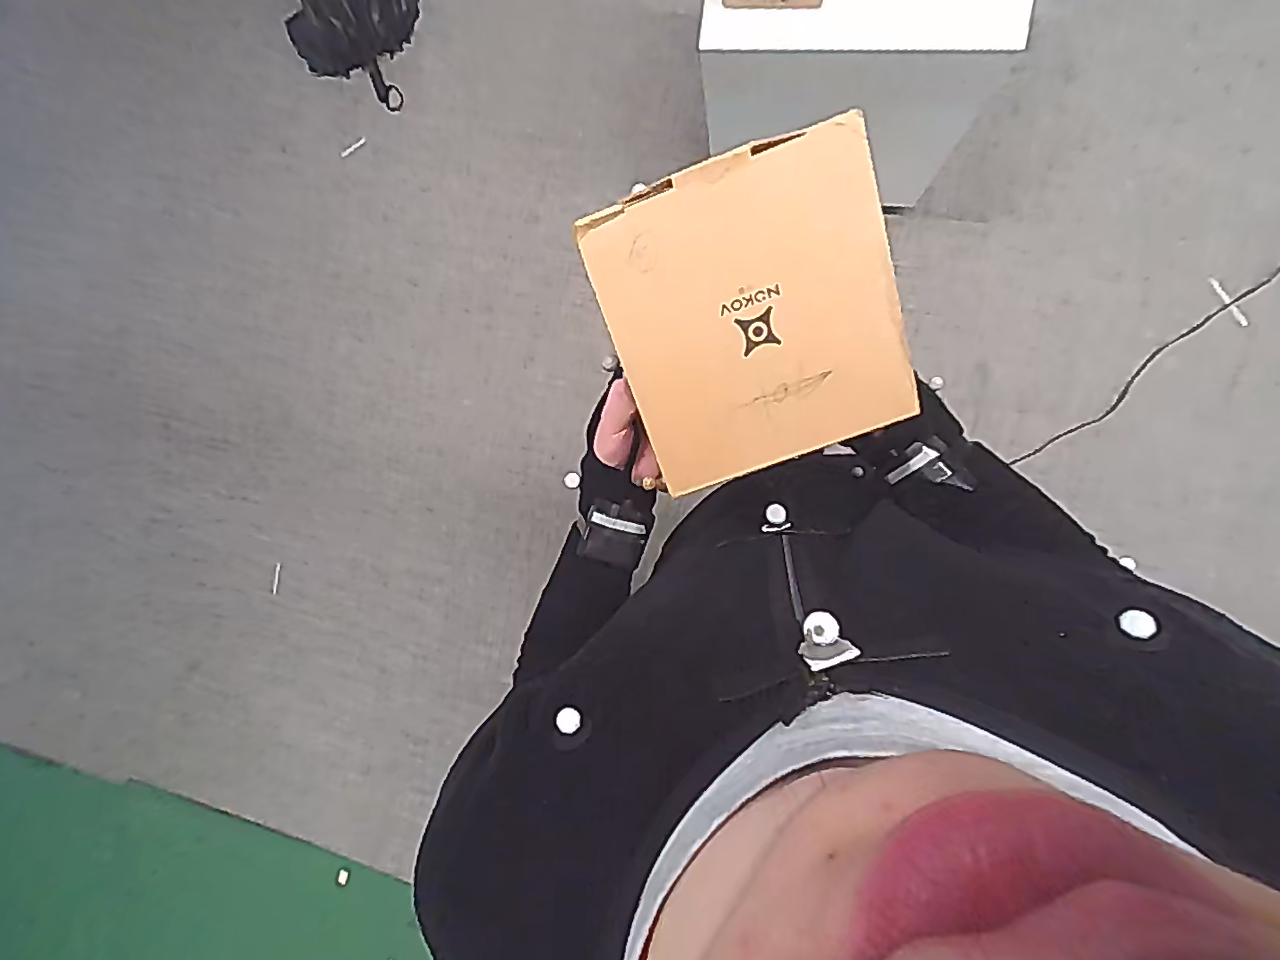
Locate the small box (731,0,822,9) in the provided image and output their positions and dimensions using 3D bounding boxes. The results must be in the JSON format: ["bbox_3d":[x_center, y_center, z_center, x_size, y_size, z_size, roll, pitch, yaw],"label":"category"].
[{"bbox_3d":[0.217,-0.861,0.802,0.168,0.176,0.179,10,94,9],"label":"small box"}]

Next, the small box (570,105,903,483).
[{"bbox_3d":[0.060,-0.125,0.393,0.168,0.176,0.179,-18,110,6],"label":"small box"}]
